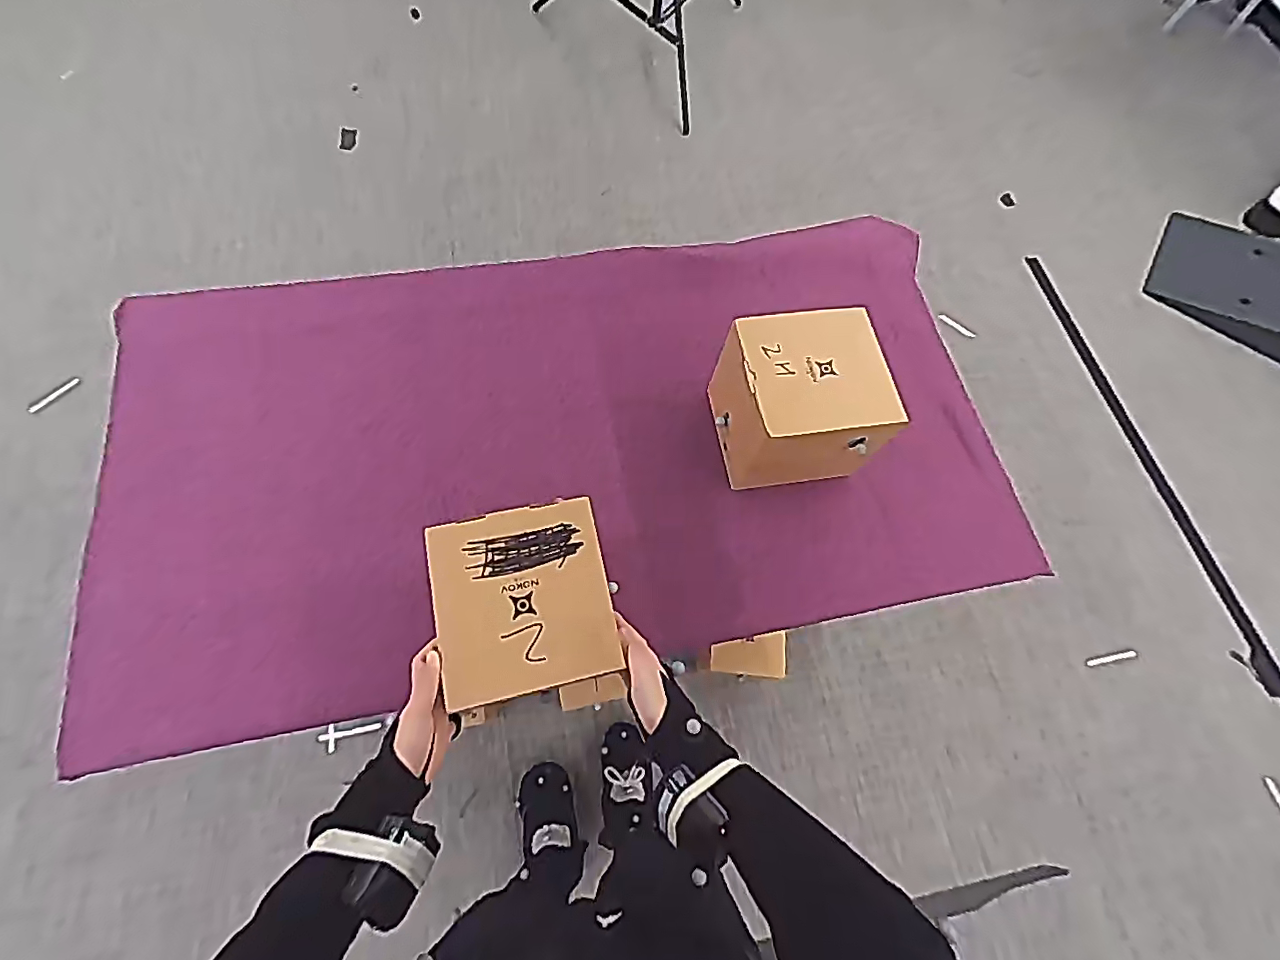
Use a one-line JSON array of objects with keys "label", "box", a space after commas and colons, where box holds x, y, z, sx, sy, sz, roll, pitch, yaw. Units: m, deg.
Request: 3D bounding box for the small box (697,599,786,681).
[{"label": "small box", "box": [0.242, 0.390, 1.309, 0.179, 0.176, 0.168, 6, 69, -2]}]

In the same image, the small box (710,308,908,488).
[{"label": "small box", "box": [0.206, -0.101, 0.712, 0.179, 0.176, 0.168, -8, 68, -7]}]

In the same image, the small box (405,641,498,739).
[{"label": "small box", "box": [-0.420, 0.474, 1.217, 0.168, 0.176, 0.179, -7, 68, -8]}]

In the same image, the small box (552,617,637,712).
[{"label": "small box", "box": [-0.109, 0.431, 1.260, 0.168, 0.176, 0.179, -10, 71, -8]}]
